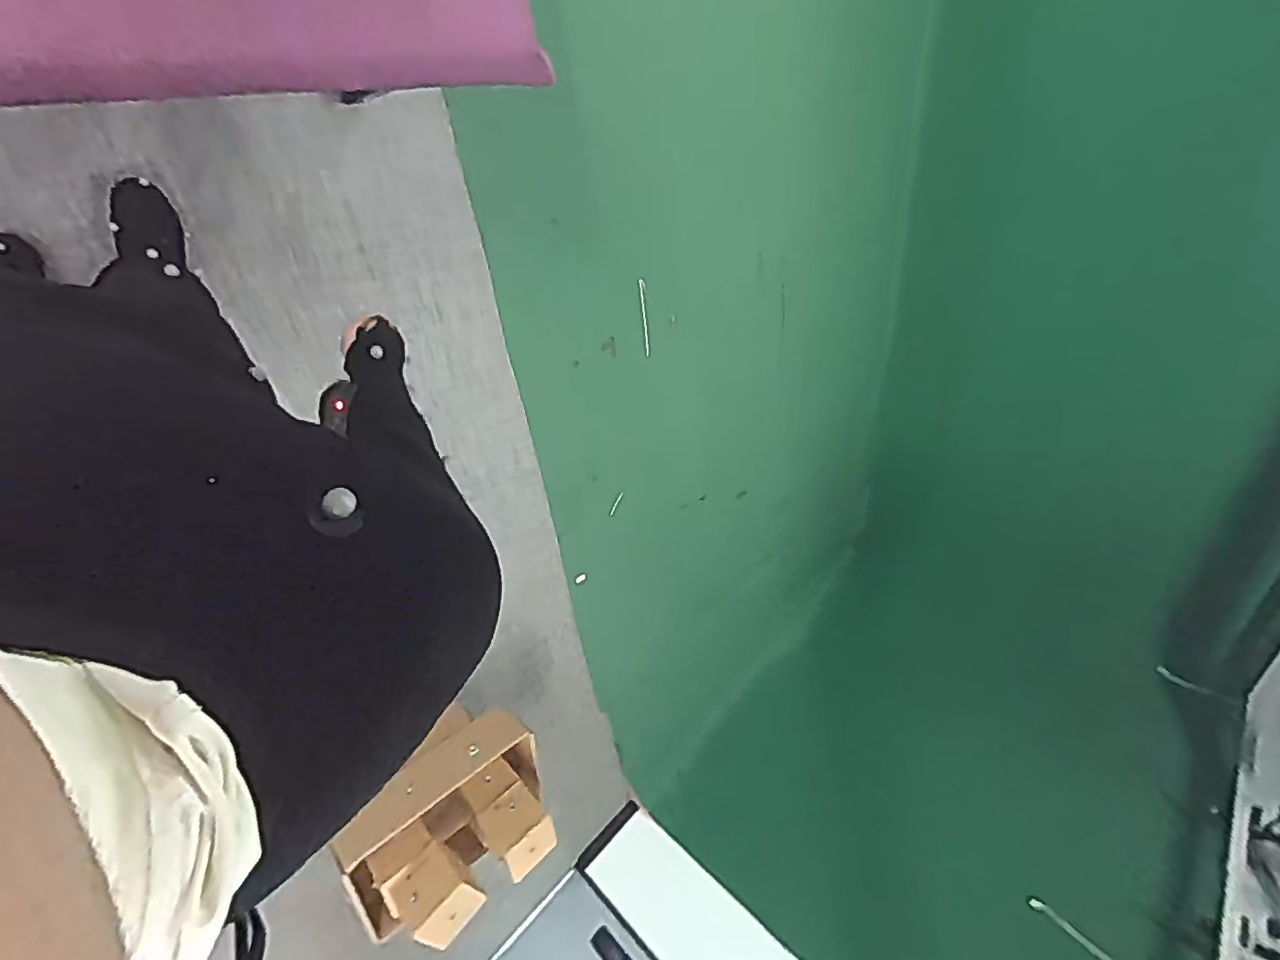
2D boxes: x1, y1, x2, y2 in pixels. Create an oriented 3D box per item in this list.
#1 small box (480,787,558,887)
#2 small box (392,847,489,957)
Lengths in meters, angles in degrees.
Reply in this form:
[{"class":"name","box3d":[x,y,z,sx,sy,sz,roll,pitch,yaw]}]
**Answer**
[{"class":"small box","box3d":[-0.387,1.134,1.729,0.168,0.176,0.179,-29,128,-36]},{"class":"small box","box3d":[-0.576,1.204,1.553,0.168,0.176,0.179,-41,134,-26]}]
